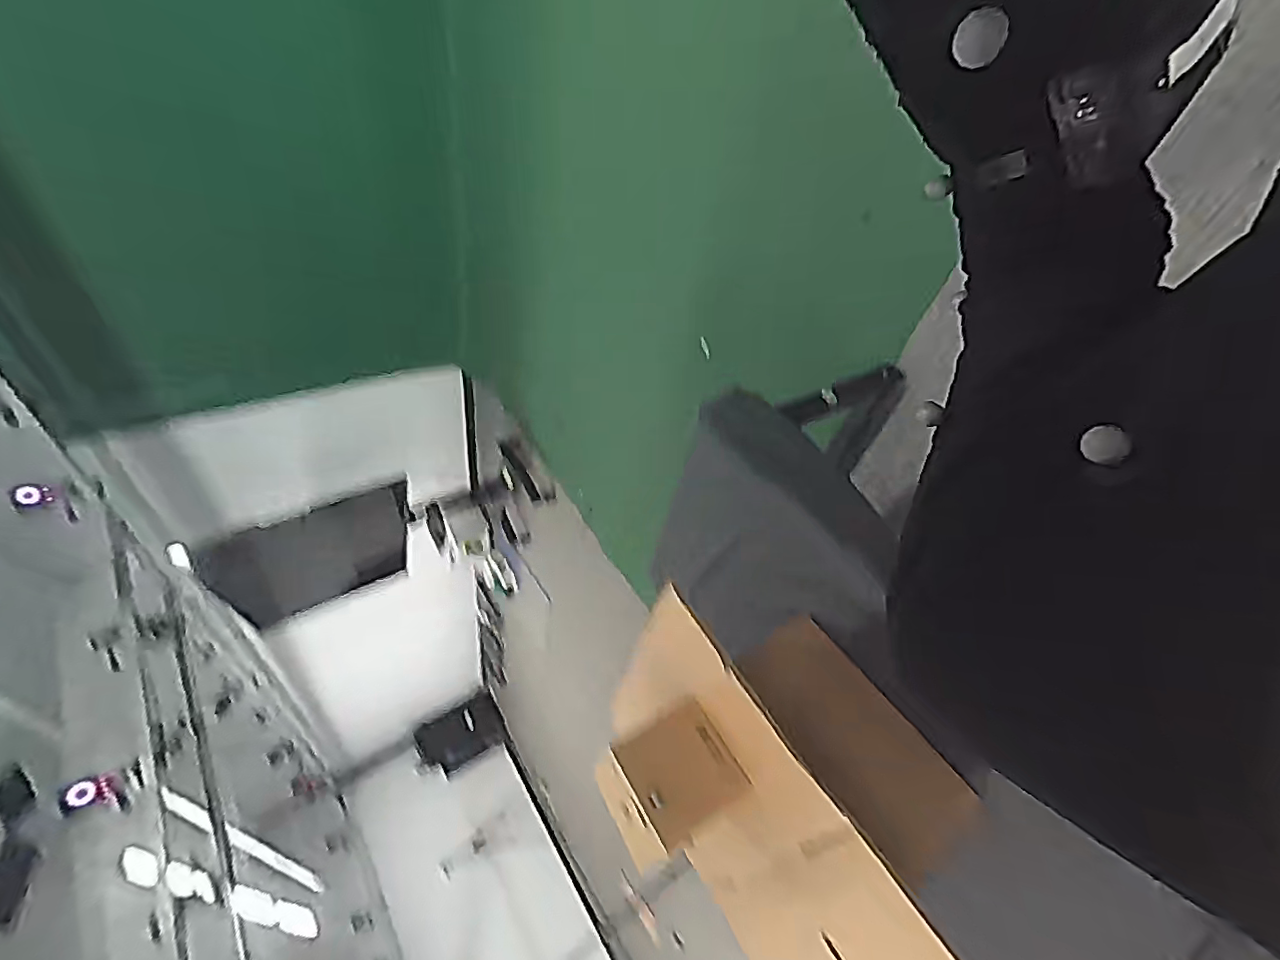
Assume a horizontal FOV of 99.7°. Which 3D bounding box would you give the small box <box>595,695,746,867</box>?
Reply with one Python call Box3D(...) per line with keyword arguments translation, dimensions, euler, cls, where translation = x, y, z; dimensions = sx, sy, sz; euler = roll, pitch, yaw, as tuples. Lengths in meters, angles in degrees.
Box3D(translation=(0.046, 0.488, 0.885), dimensions=(0.168, 0.176, 0.179), euler=(52, 146, 29), cls="small box")
